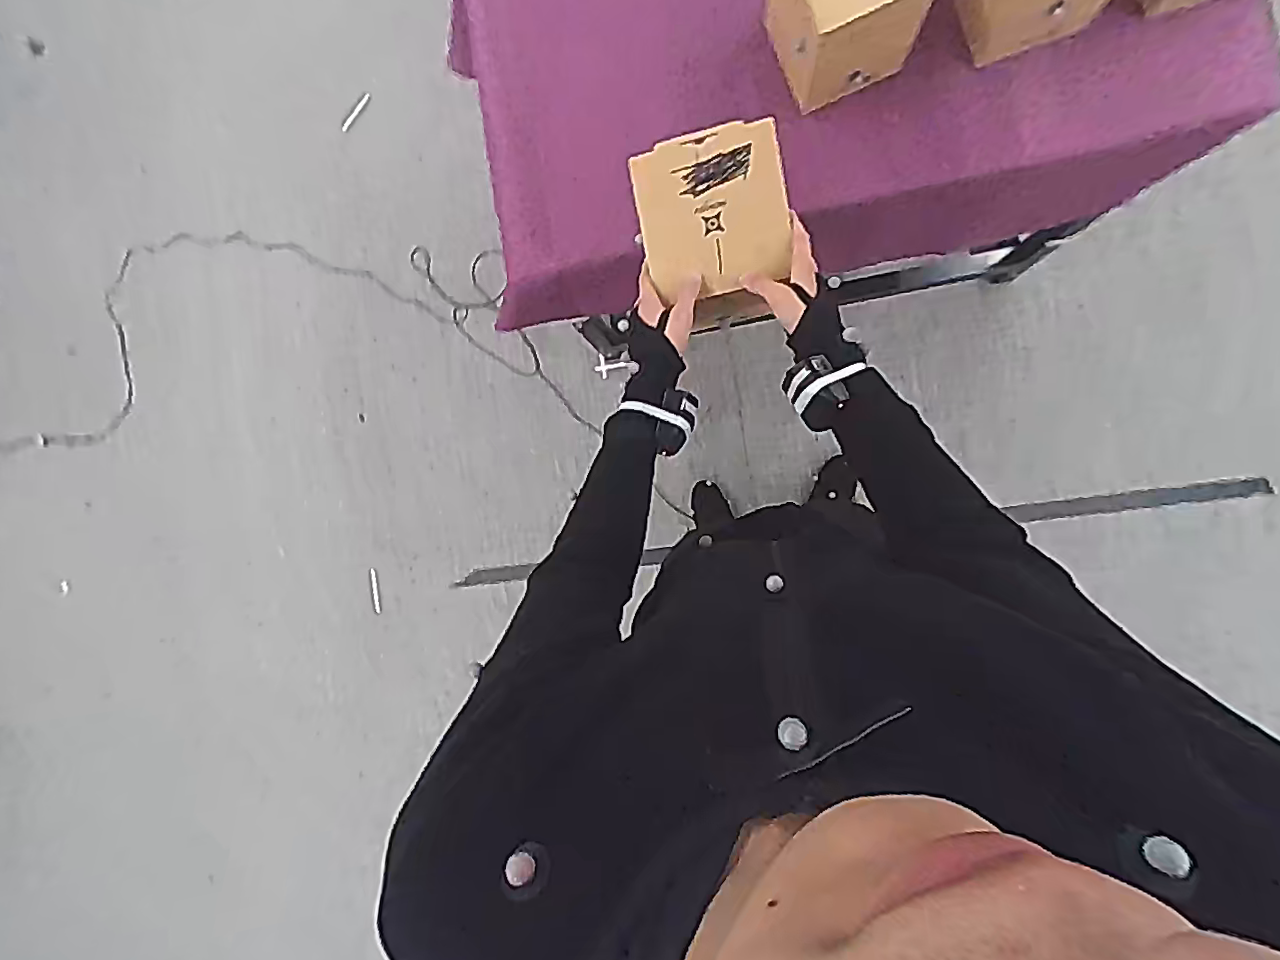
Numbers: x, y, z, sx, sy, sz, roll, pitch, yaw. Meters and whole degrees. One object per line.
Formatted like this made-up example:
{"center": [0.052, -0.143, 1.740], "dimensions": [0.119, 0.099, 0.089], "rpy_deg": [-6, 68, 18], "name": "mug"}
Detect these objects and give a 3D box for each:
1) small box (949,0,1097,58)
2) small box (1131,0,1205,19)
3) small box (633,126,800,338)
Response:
{"center": [0.563, -0.752, 0.766], "dimensions": [0.168, 0.176, 0.179], "rpy_deg": [-16, 87, 8], "name": "small box"}
{"center": [0.796, -0.796, 0.731], "dimensions": [0.168, 0.176, 0.179], "rpy_deg": [-14, 87, 10], "name": "small box"}
{"center": [0.097, -0.297, 0.687], "dimensions": [0.168, 0.176, 0.179], "rpy_deg": [-10, 93, 11], "name": "small box"}
